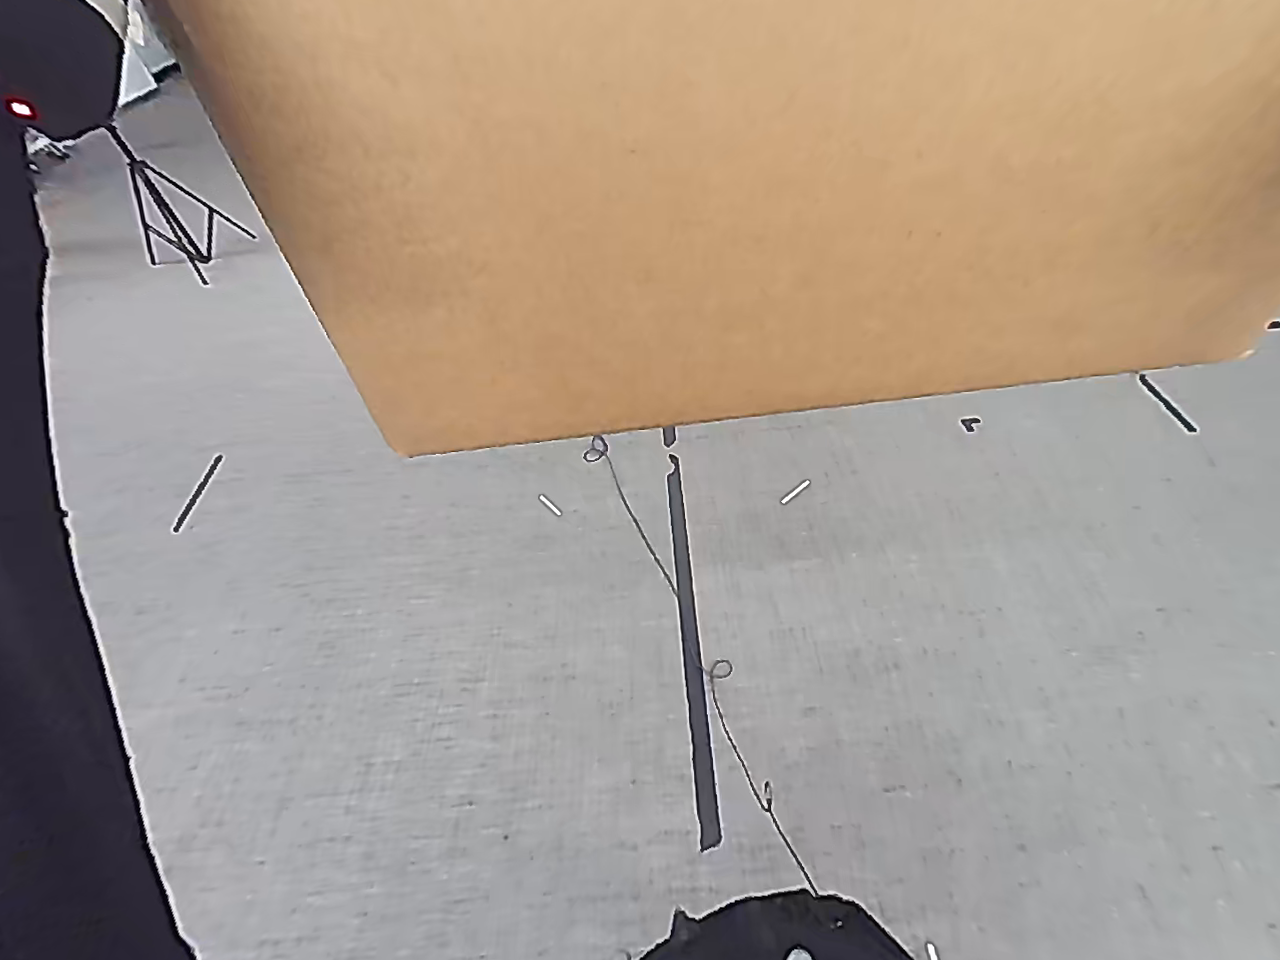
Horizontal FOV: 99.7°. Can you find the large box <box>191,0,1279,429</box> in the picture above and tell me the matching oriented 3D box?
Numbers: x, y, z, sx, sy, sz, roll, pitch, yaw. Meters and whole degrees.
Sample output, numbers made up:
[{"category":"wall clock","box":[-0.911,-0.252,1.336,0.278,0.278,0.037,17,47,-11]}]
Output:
[{"category":"large box","box":[0.055,-0.253,0.266,0.408,0.320,0.320,-6,44,0]}]
